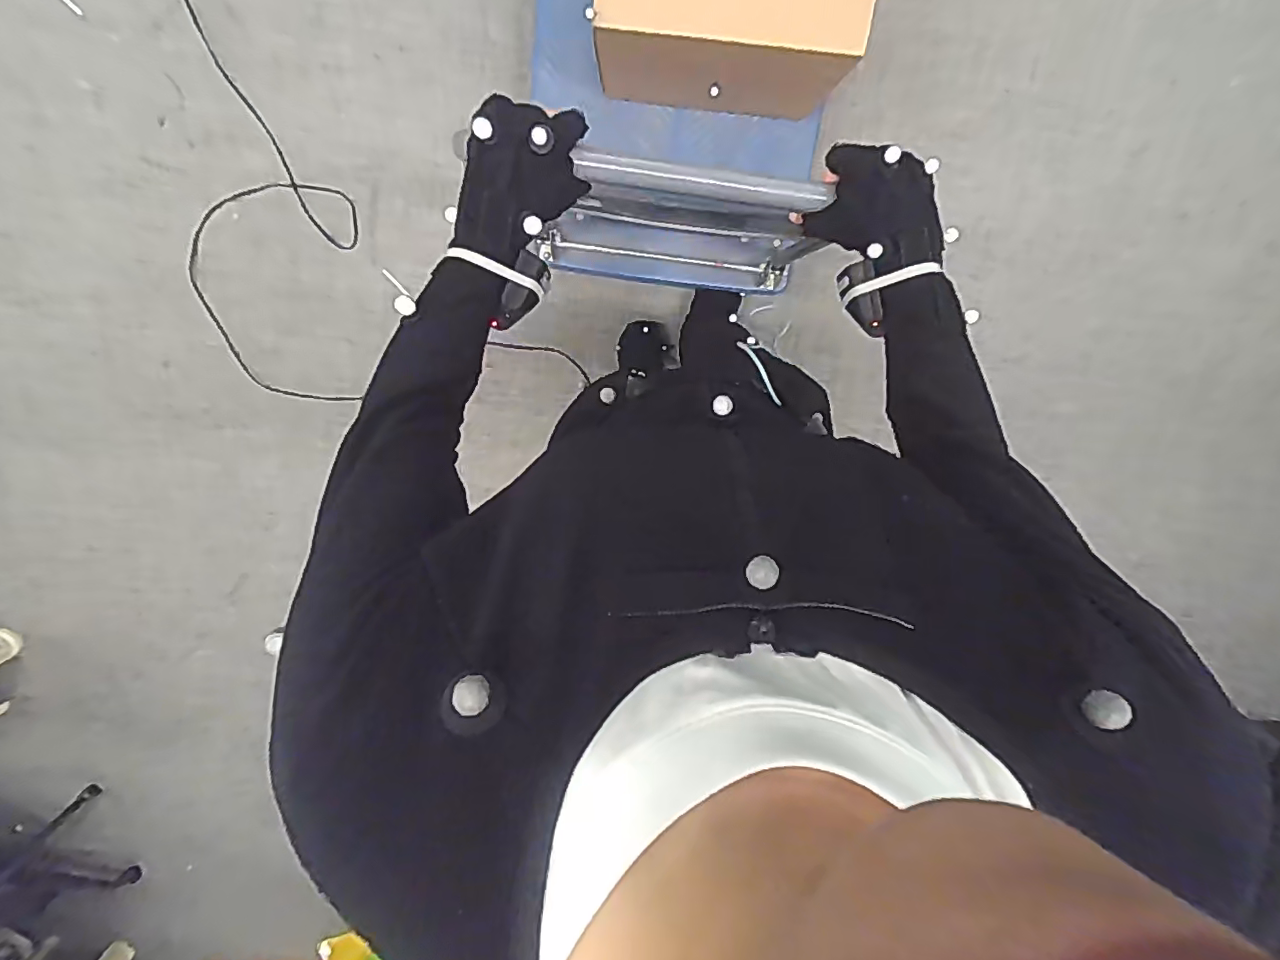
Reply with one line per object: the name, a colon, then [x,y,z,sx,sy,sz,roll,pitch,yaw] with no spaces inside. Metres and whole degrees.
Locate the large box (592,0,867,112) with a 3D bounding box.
large box: [0.143,-0.843,0.893,0.408,0.320,0.320,5,108,-1]
